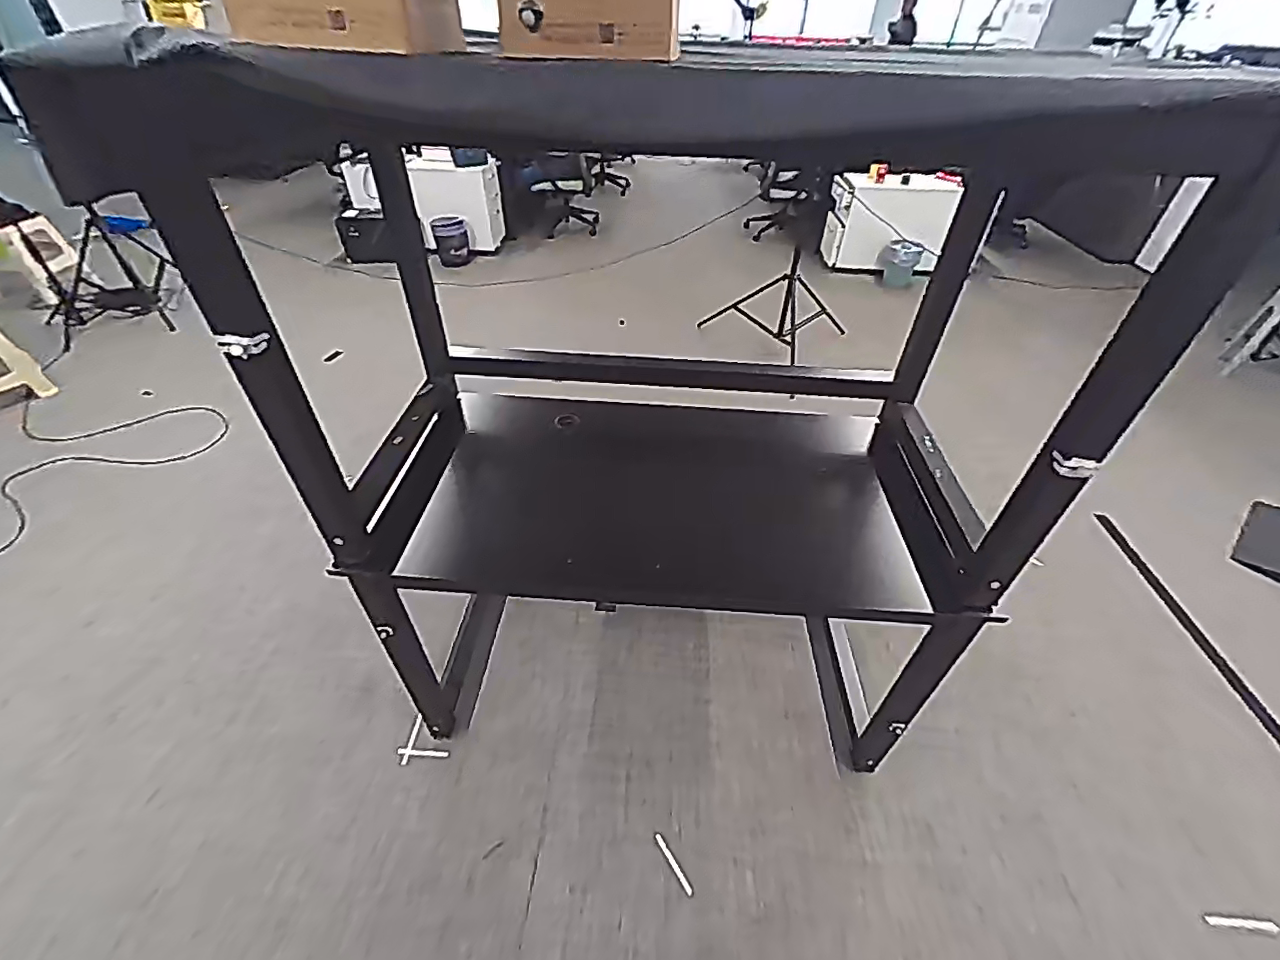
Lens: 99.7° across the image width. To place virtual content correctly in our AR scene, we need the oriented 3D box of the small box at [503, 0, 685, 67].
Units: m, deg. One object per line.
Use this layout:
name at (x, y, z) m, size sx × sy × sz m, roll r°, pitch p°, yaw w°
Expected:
small box at (-0.039, -0.513, 0.530) m, size 0.168 × 0.176 × 0.179 m, roll 5°, pitch 38°, yaw 3°

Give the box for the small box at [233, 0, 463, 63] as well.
small box at (-0.283, -0.509, 0.518) m, size 0.168 × 0.176 × 0.179 m, roll 4°, pitch 39°, yaw 1°
